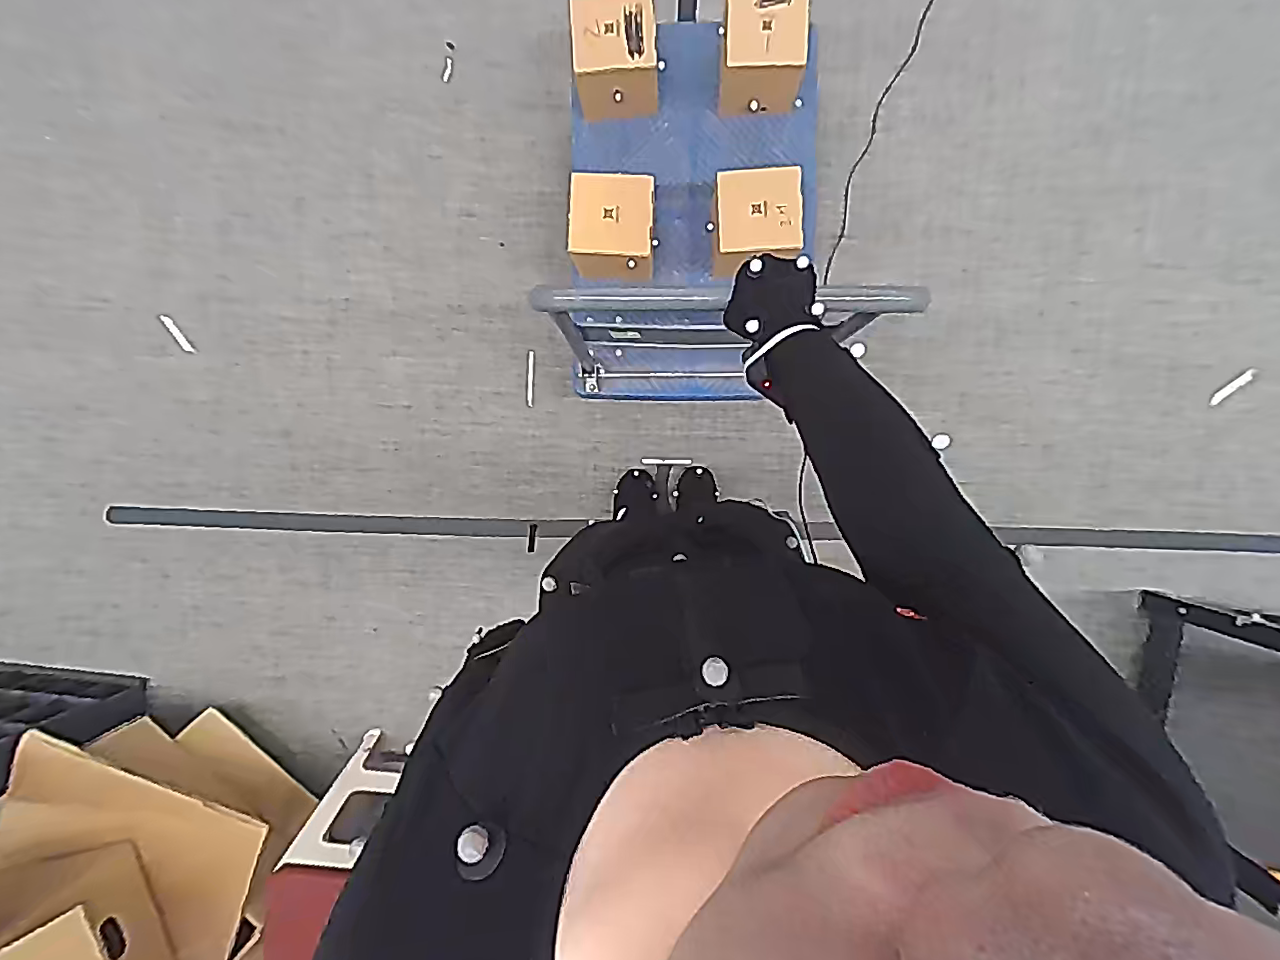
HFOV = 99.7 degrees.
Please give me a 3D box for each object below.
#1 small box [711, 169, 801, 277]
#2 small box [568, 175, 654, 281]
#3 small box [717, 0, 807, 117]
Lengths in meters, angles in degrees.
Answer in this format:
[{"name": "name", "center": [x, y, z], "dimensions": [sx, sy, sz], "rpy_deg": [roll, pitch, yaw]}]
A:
[{"name": "small box", "center": [0.249, -0.560, 1.200], "dimensions": [0.179, 0.176, 0.168], "rpy_deg": [-2, 93, 2]}, {"name": "small box", "center": [-0.061, -0.556, 1.212], "dimensions": [0.179, 0.176, 0.168], "rpy_deg": [2, 92, 0]}, {"name": "small box", "center": [0.259, -0.933, 1.181], "dimensions": [0.168, 0.176, 0.179], "rpy_deg": [1, 94, 2]}]
